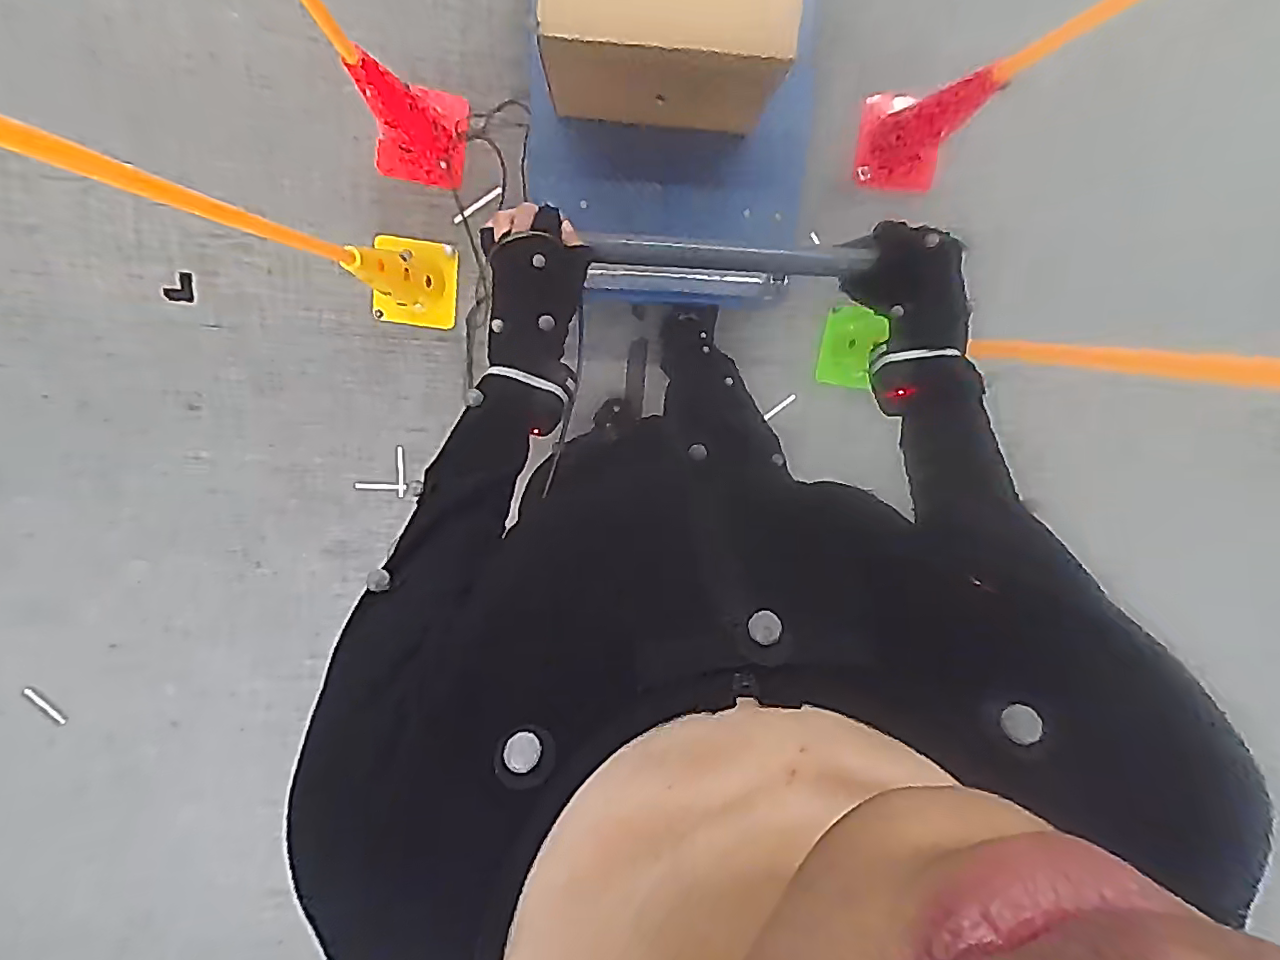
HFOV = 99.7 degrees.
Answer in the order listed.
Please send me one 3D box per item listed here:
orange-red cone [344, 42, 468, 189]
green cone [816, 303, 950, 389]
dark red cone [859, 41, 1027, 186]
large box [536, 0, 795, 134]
[{"bbox_3d":[-0.499,-0.765,1.091,0.198,0.360,0.199,11,100,-6],"label":"orange-red cone"},{"bbox_3d":[0.578,-0.309,1.242,0.202,0.368,0.200,7,102,-6],"label":"green cone"},{"bbox_3d":[0.635,-0.776,1.122,0.201,0.394,0.202,3,103,-5],"label":"dark red cone"},{"bbox_3d":[0.041,-0.842,0.951,0.408,0.320,0.320,3,103,-3],"label":"large box"}]
